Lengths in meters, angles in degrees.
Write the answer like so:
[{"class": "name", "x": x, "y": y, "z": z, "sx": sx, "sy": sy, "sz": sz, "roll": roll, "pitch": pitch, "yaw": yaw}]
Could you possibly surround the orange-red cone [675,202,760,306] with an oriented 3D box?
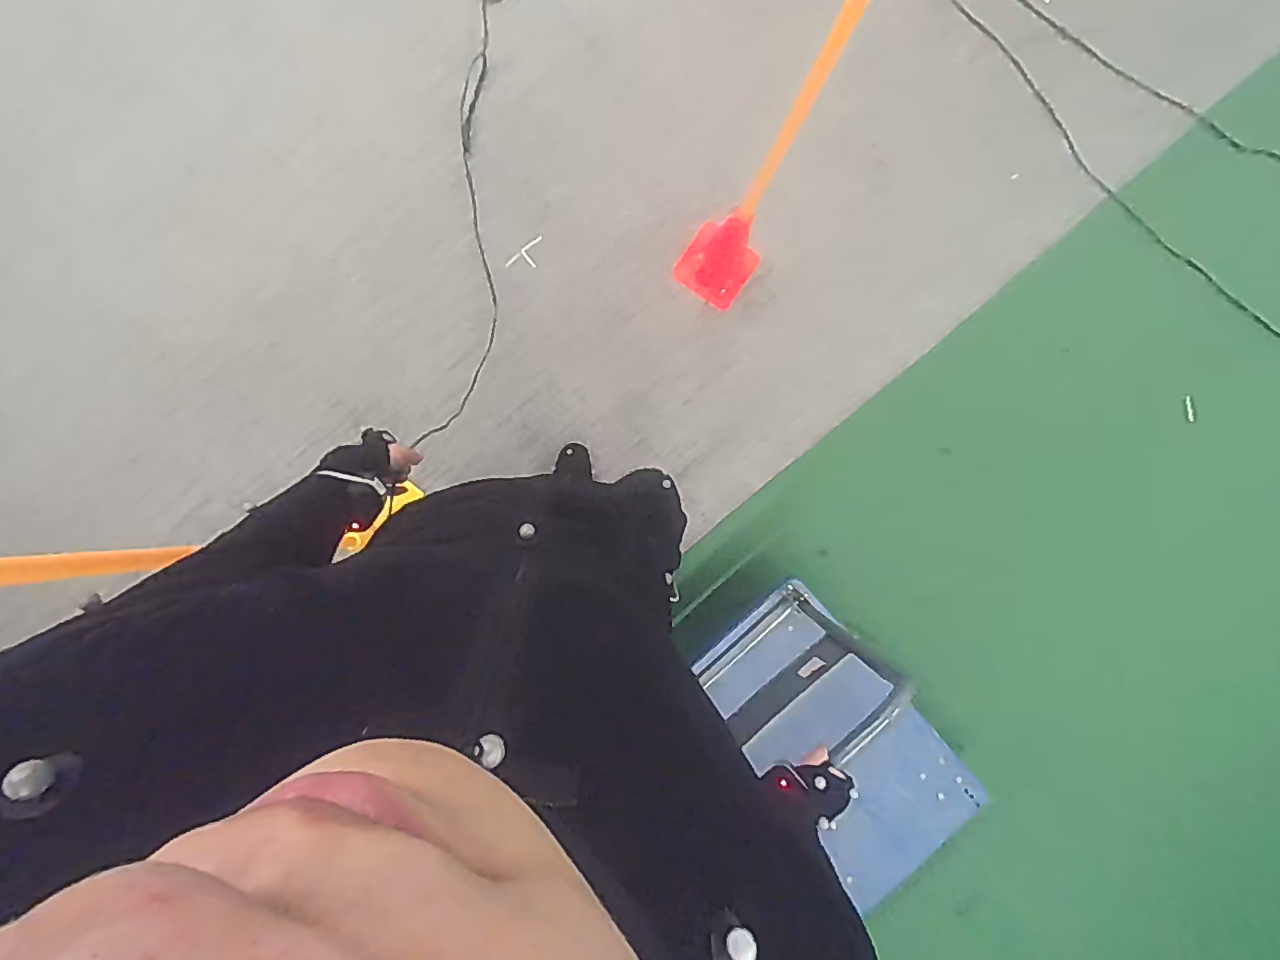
[{"class": "orange-red cone", "x": 0.240, "y": -0.633, "z": 1.421, "sx": 0.198, "sy": 0.360, "sz": 0.199, "roll": 36, "pitch": 89, "yaw": -5}]
